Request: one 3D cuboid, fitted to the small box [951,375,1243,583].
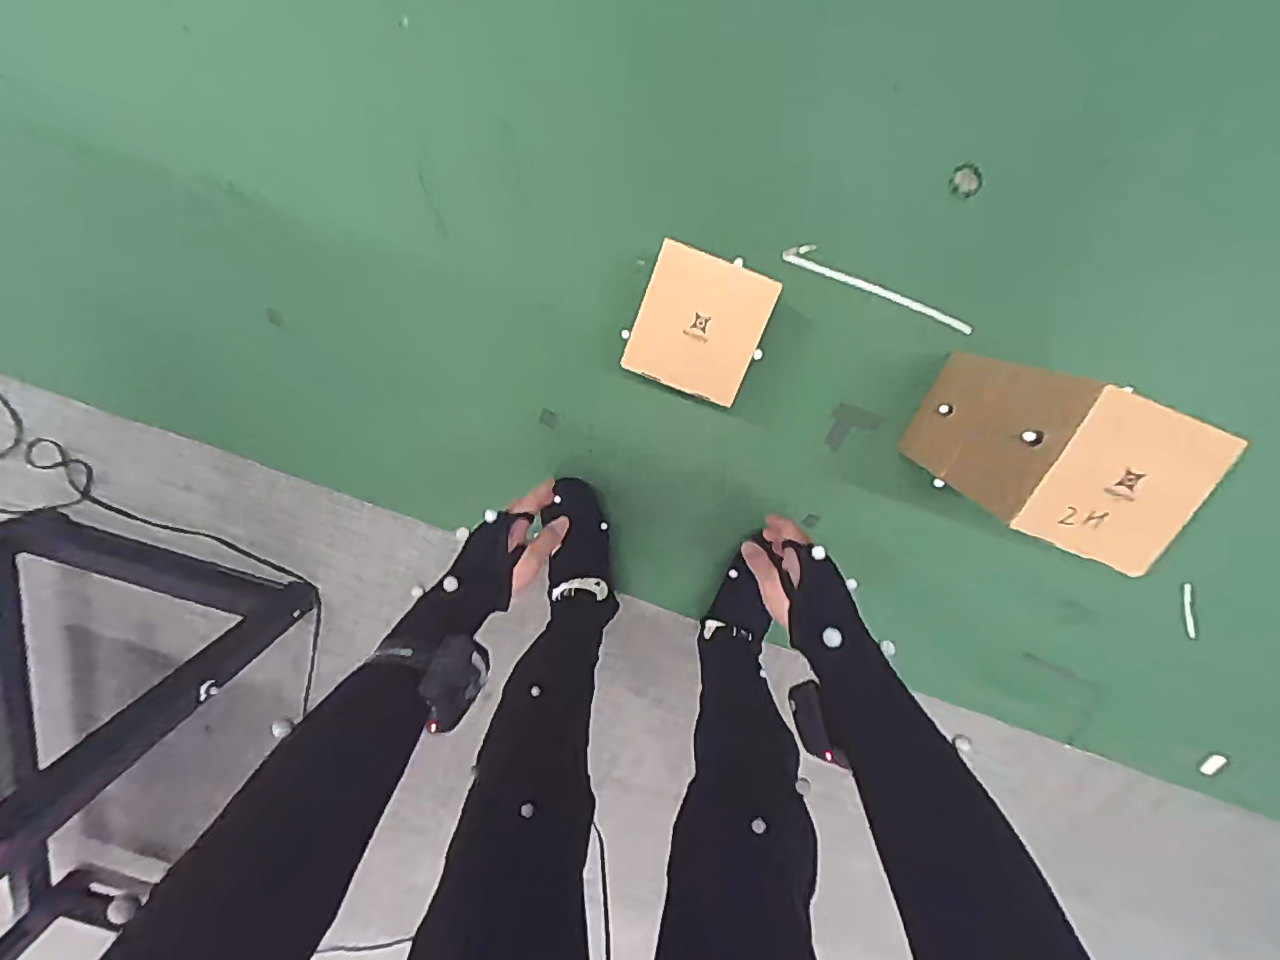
[{"bbox_3d":[0.521,-0.013,0.653,0.168,0.176,0.179,22,109,-3],"label":"small box"}]

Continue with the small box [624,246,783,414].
[{"bbox_3d":[0.086,-0.220,0.794,0.168,0.176,0.179,20,109,-2],"label":"small box"}]
